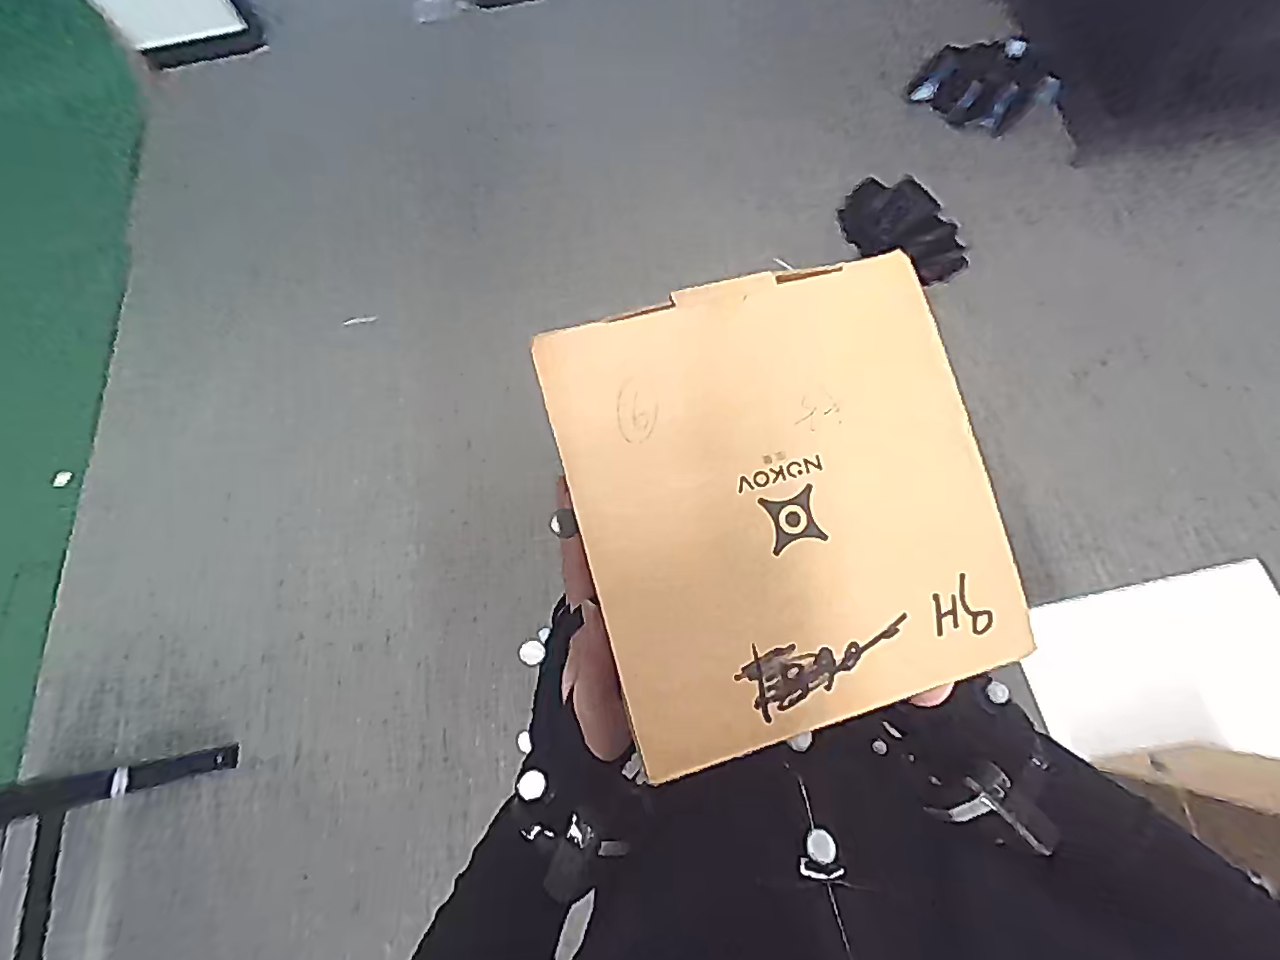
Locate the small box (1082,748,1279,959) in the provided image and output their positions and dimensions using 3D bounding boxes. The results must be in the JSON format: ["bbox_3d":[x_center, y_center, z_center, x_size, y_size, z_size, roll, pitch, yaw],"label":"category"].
[{"bbox_3d":[0.688,0.435,0.651,0.179,0.176,0.168,-9,72,-1],"label":"small box"}]

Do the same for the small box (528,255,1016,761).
[{"bbox_3d":[0.046,0.014,0.299,0.168,0.176,0.179,-16,85,-6],"label":"small box"}]

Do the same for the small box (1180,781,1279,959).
[{"bbox_3d":[0.679,0.385,0.495,0.179,0.176,0.168,-8,72,2],"label":"small box"}]
